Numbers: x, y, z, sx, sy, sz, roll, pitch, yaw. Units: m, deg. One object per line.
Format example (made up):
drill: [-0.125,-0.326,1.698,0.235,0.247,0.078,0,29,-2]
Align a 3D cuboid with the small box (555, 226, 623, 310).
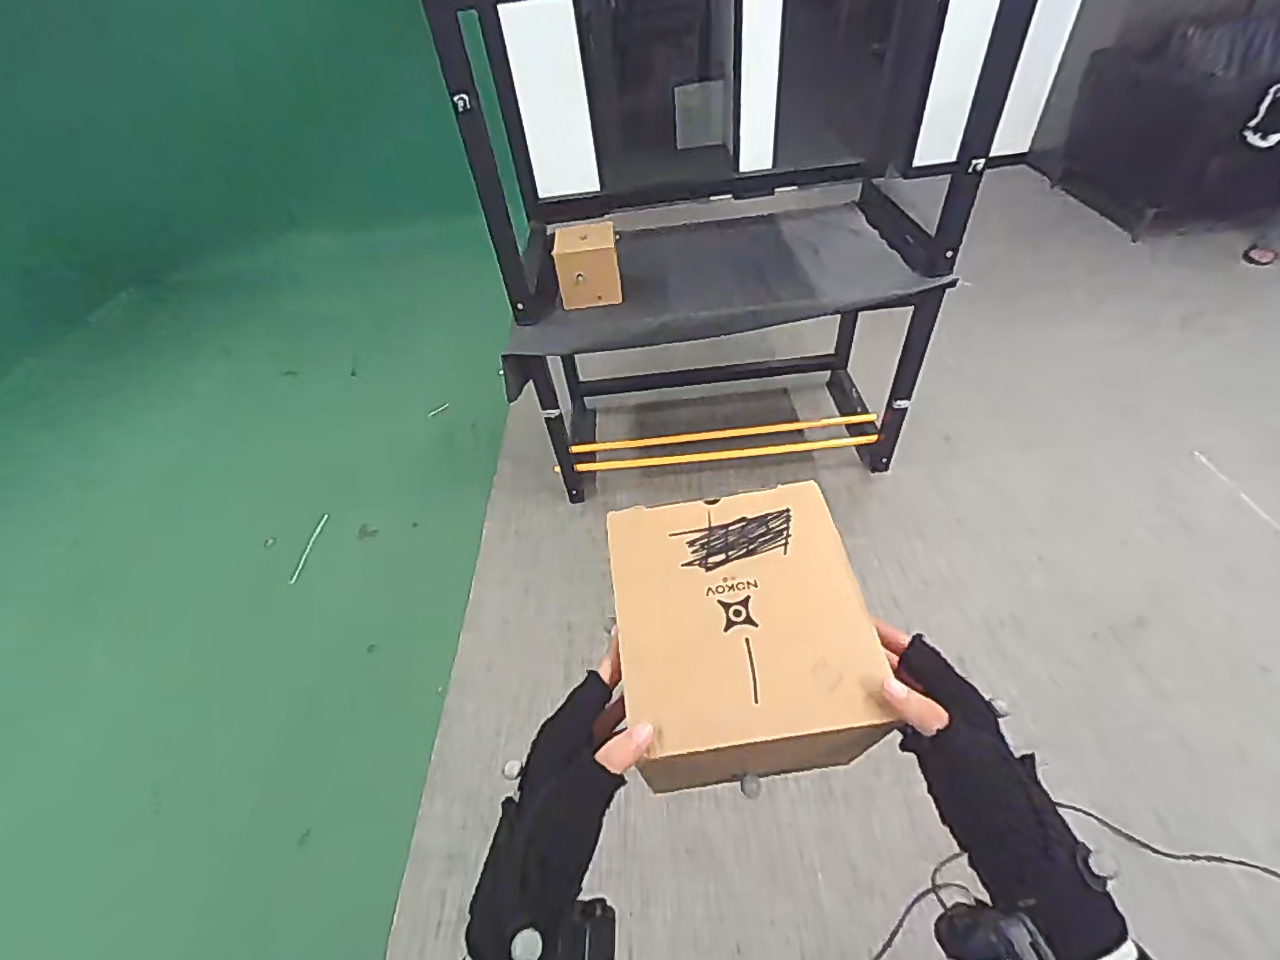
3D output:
small box: [-0.140,-0.599,1.546,0.168,0.176,0.179,-7,45,2]
